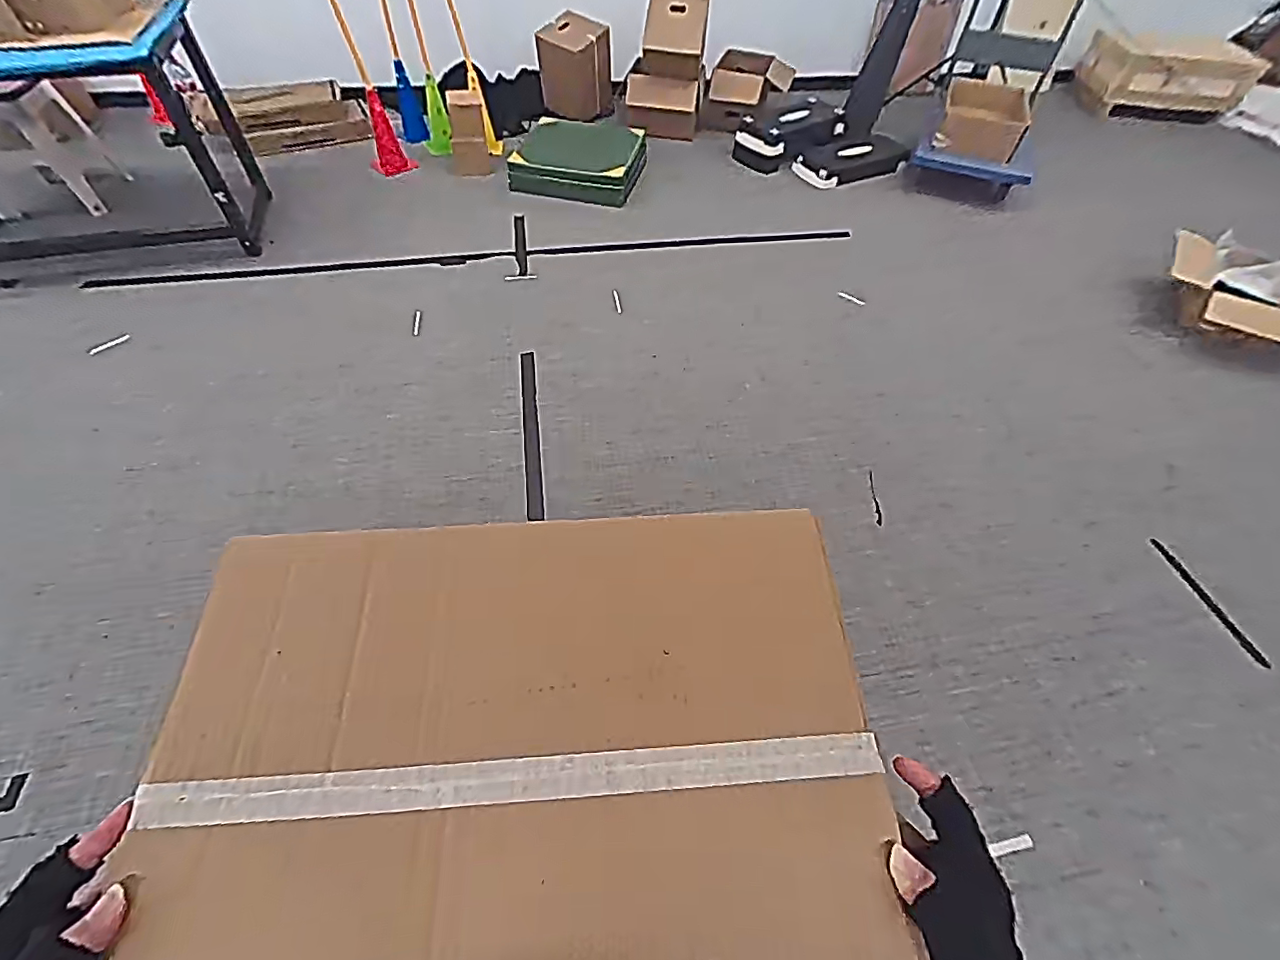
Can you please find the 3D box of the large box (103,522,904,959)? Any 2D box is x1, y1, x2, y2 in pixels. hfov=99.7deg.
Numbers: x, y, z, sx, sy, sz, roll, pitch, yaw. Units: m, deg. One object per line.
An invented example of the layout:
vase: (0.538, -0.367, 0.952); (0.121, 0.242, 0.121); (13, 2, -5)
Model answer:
large box: (-0.071, 0.247, 0.438); (0.408, 0.320, 0.320); (-3, 59, -2)
